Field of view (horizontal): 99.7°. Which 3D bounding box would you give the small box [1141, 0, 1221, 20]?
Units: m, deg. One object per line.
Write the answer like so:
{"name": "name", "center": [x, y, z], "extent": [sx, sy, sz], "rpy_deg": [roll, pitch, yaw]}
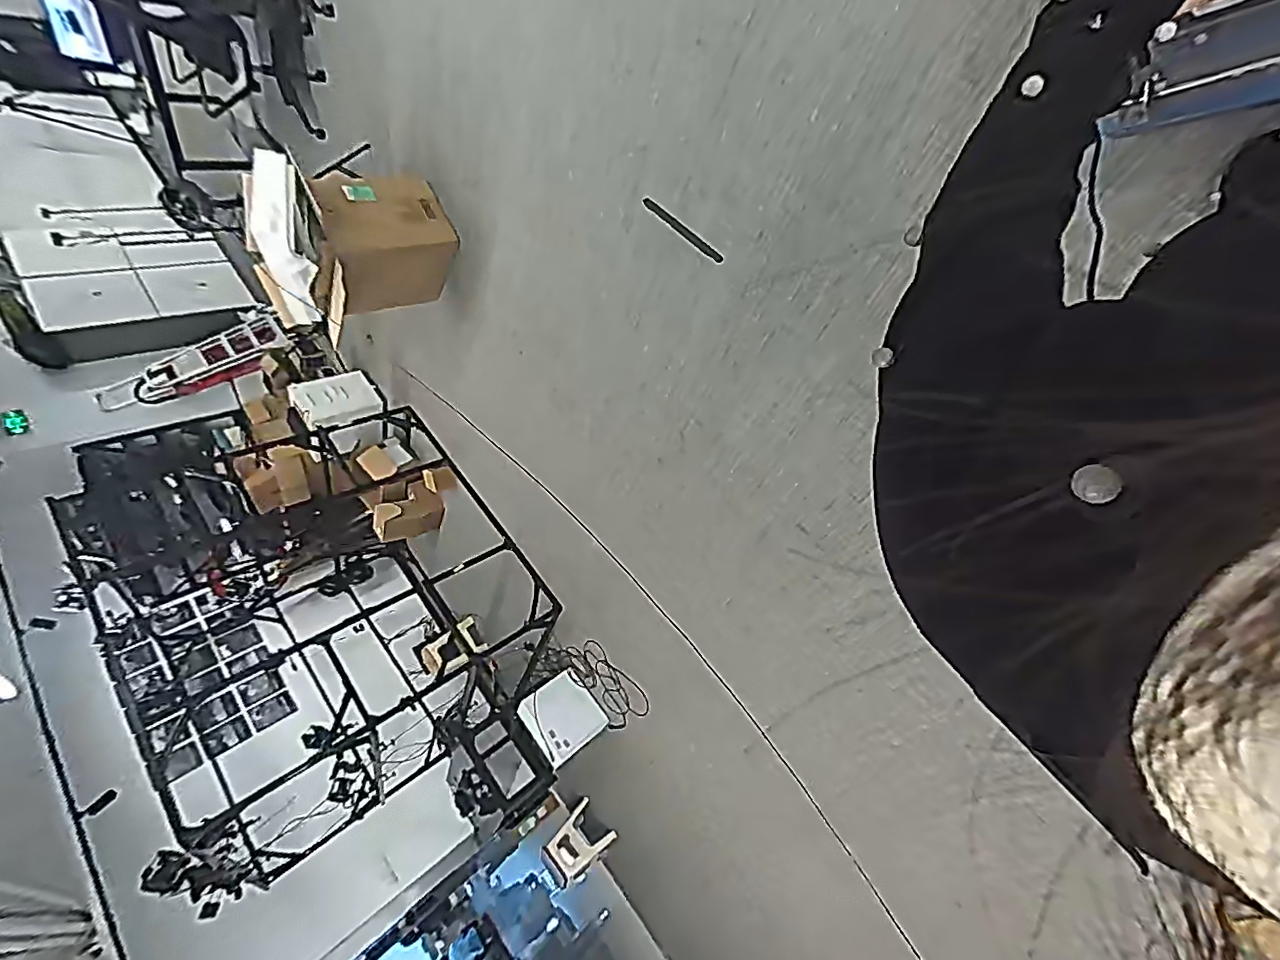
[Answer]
{"name": "small box", "center": [0.780, -0.744, 0.706], "extent": [0.168, 0.176, 0.179], "rpy_deg": [5, 115, 46]}
